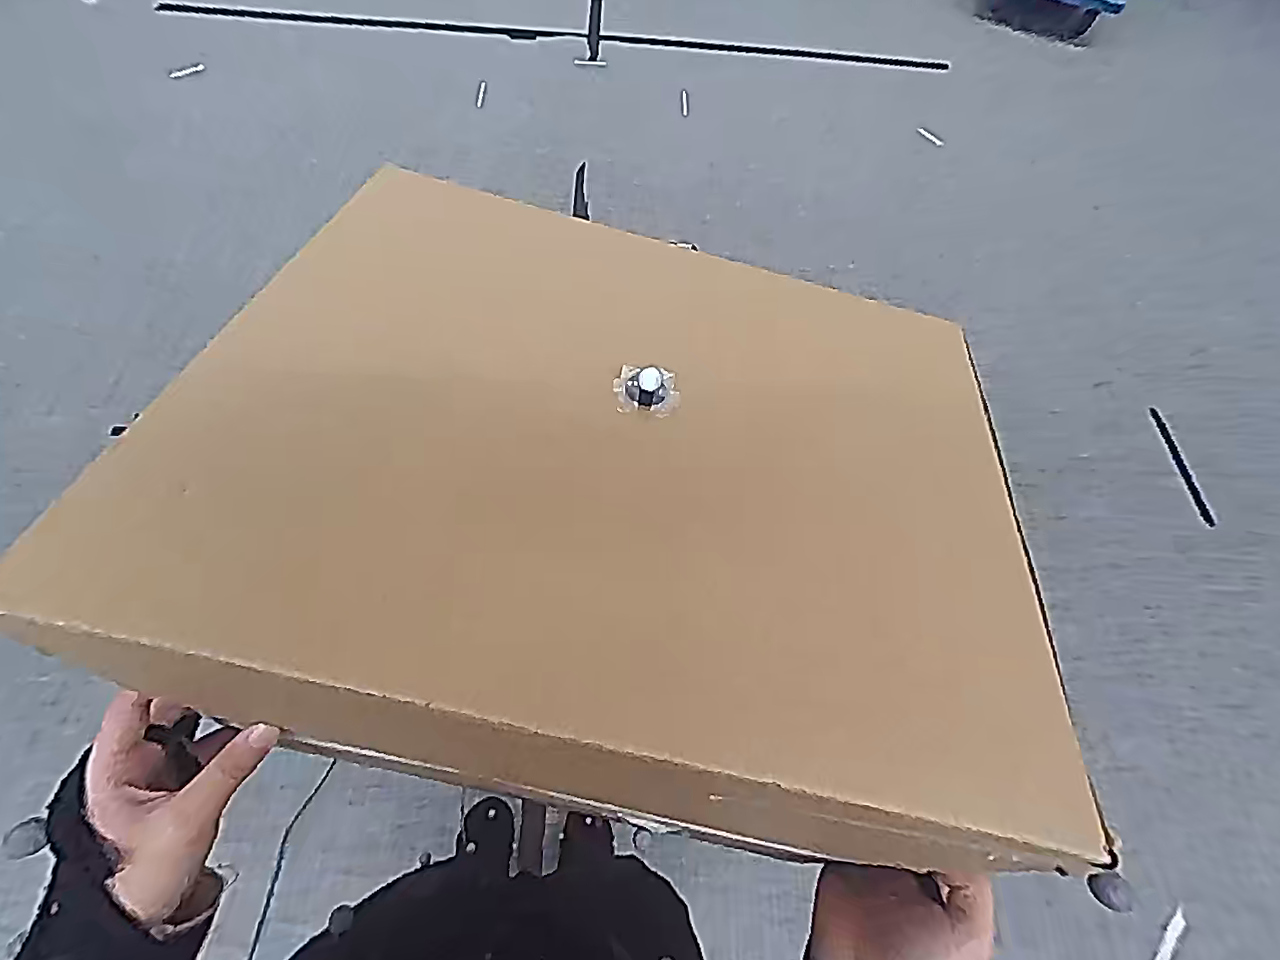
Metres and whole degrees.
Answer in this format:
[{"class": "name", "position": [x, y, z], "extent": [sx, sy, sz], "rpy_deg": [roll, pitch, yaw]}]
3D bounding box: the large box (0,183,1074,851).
[{"class": "large box", "position": [-0.036, 0.044, 0.395], "extent": [0.408, 0.320, 0.320], "rpy_deg": [13, 56, -2]}]
